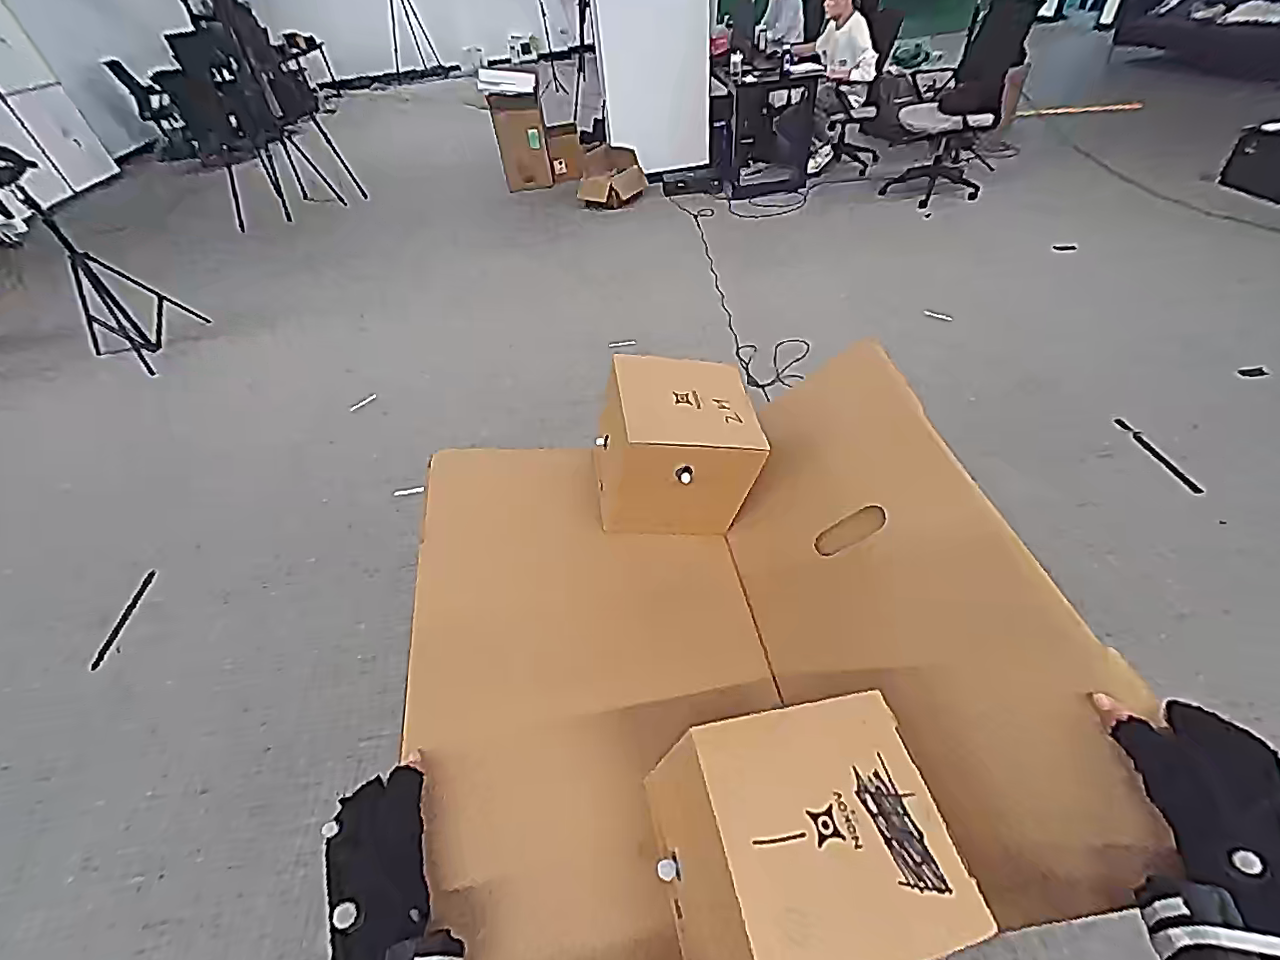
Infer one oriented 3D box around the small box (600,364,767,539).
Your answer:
[{"bbox_3d":[0.042,-0.034,0.730,0.179,0.176,0.168,3,48,-14],"label":"small box"}]
